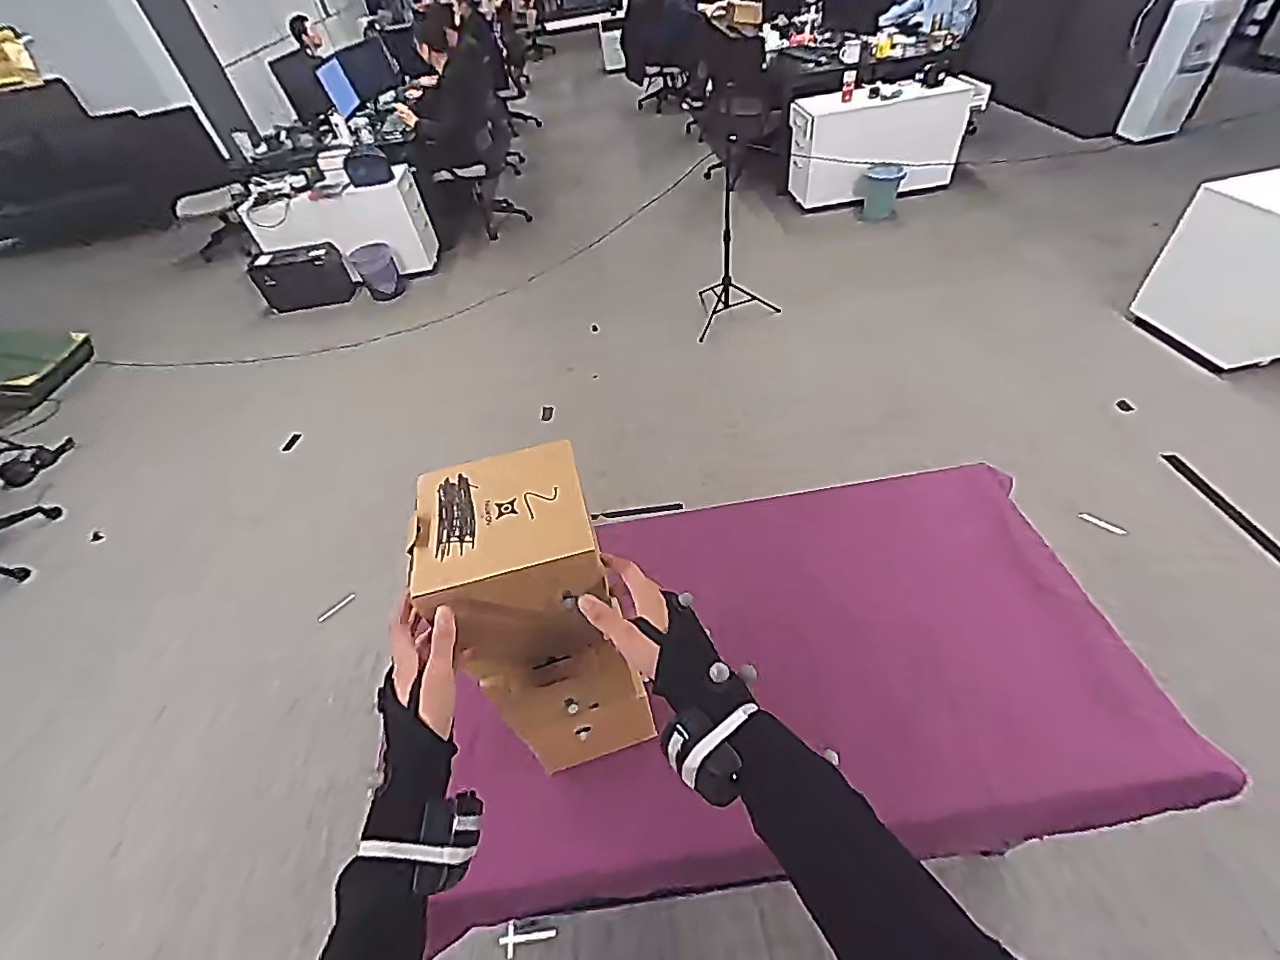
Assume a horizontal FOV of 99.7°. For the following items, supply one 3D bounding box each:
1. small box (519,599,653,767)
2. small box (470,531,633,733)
[{"bbox_3d":[-0.089,0.318,0.838,0.179,0.176,0.168,-15,47,-7],"label":"small box"},{"bbox_3d":[-0.116,0.203,0.722,0.168,0.176,0.179,-17,47,-7],"label":"small box"}]
